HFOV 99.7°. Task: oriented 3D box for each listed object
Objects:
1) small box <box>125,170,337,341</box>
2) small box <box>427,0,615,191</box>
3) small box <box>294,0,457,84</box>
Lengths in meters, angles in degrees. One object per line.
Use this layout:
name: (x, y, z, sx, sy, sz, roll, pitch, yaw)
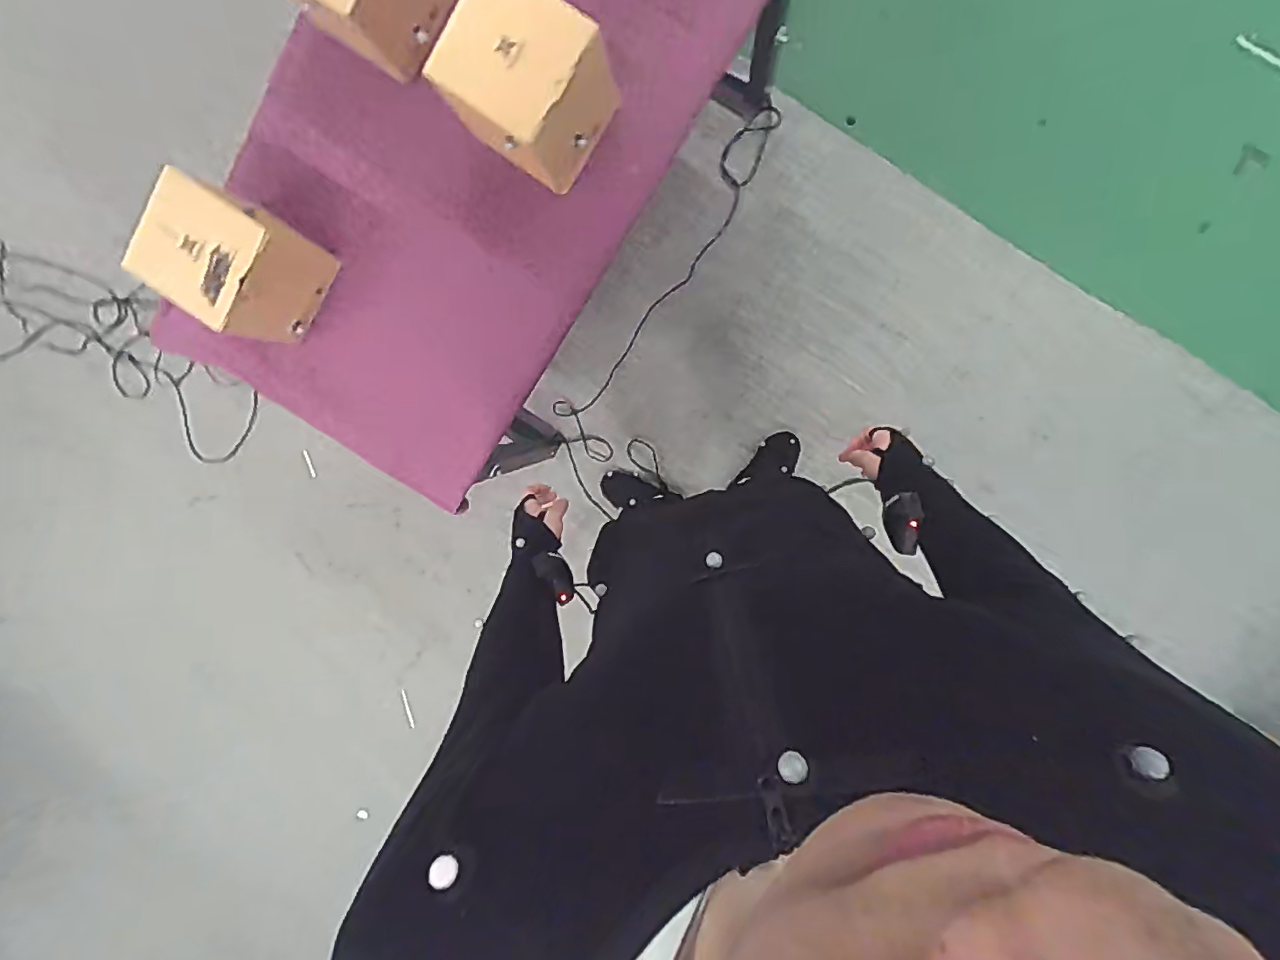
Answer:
small box: (-0.626, -0.335, 0.851, 0.179, 0.176, 0.168, 34, 99, 1)
small box: (-0.157, -0.555, 0.773, 0.179, 0.176, 0.168, 35, 99, 2)
small box: (-0.403, -0.729, 0.779, 0.179, 0.176, 0.168, 34, 100, 0)
